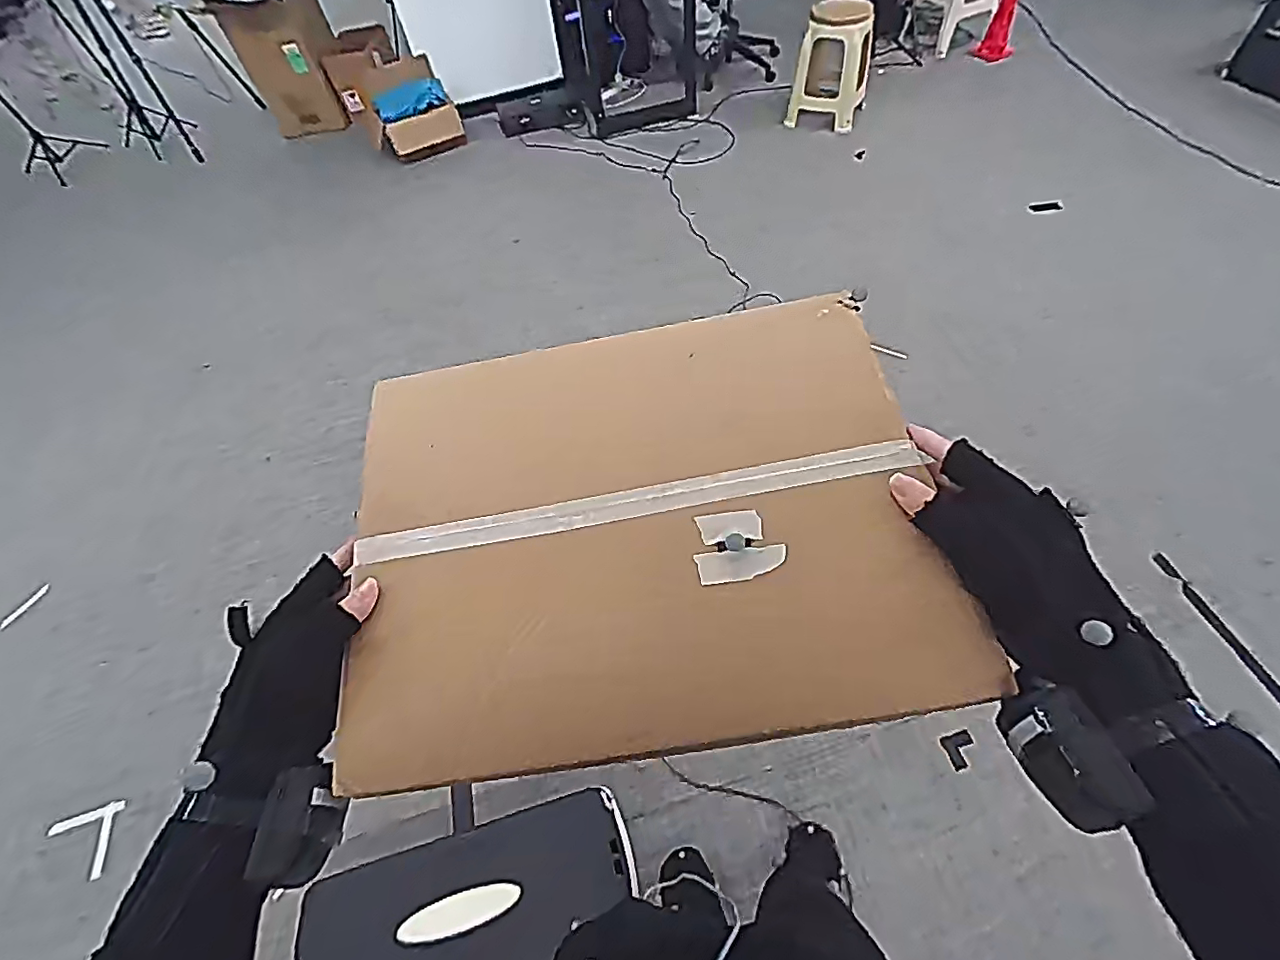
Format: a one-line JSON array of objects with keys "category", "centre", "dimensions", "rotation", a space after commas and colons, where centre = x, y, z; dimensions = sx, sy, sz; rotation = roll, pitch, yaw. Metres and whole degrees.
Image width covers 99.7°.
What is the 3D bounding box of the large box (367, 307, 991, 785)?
[{"category": "large box", "centre": [0.015, 0.087, 0.533], "dimensions": [0.408, 0.320, 0.320], "rotation": [-10, 64, 2]}]
